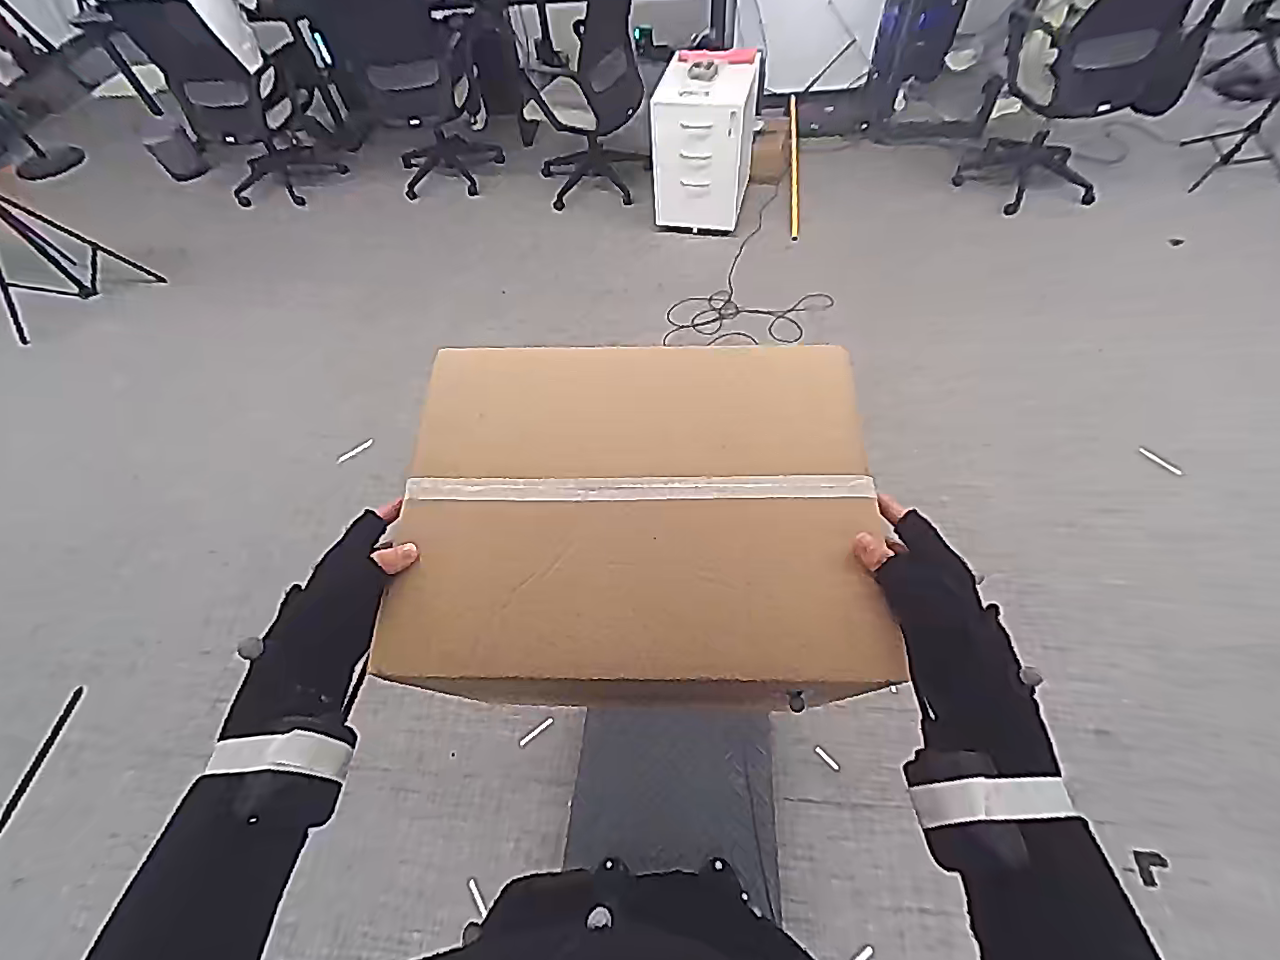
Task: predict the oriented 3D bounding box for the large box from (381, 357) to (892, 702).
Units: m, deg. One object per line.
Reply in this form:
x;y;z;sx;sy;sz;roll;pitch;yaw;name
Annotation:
0.001;0.081;0.613;0.408;0.320;0.320;0;64;2;large box
